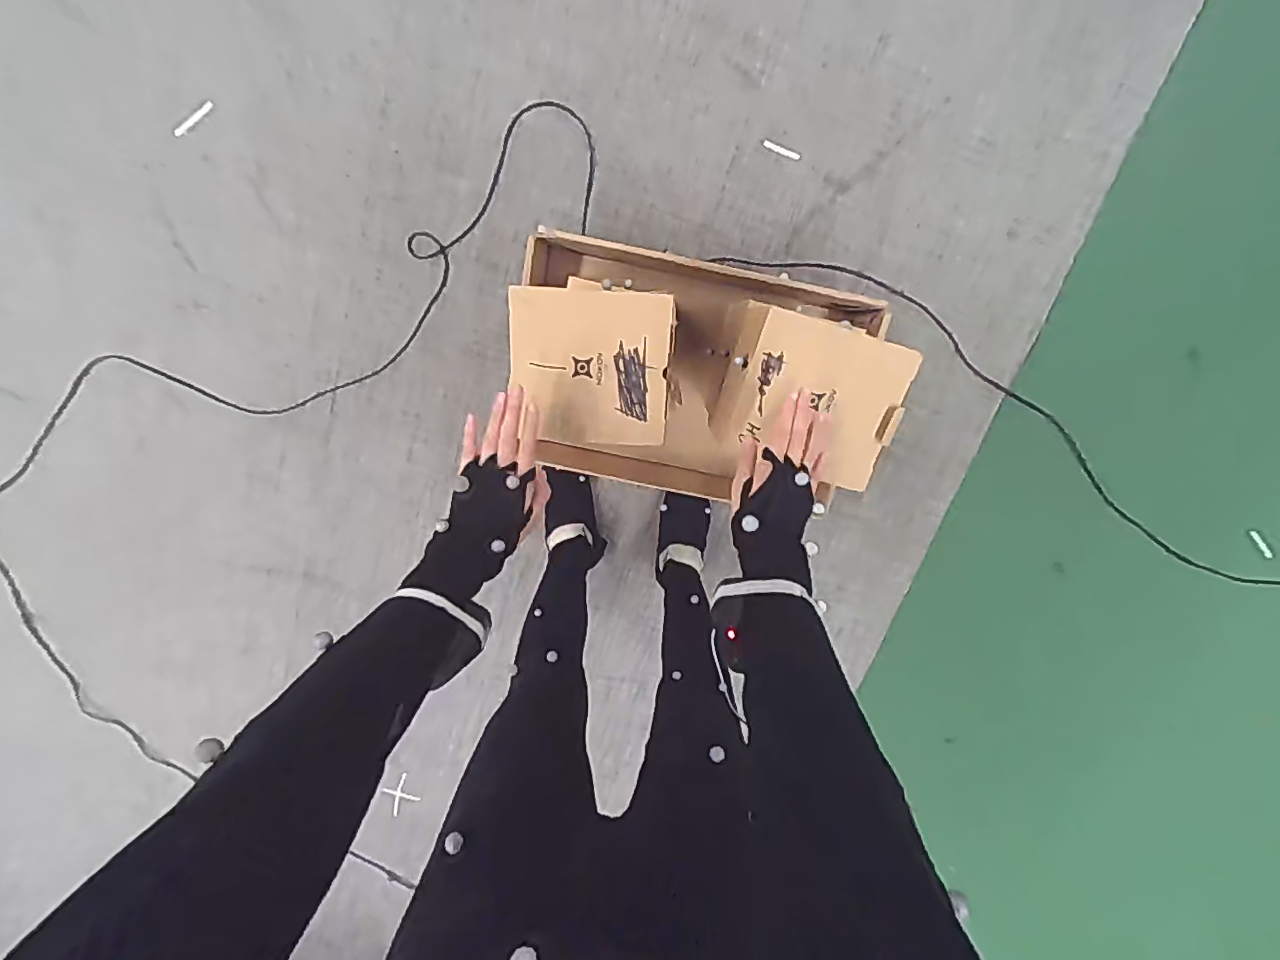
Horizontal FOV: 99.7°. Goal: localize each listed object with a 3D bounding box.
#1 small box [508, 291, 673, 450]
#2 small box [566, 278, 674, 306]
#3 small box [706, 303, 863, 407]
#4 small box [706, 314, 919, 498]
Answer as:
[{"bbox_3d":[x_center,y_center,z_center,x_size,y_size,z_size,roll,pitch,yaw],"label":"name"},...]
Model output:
[{"bbox_3d":[-0.056,-0.140,0.664,0.179,0.176,0.168,3,107,0],"label":"small box"},{"bbox_3d":[-0.048,-0.255,0.970,0.179,0.176,0.168,12,107,-5],"label":"small box"},{"bbox_3d":[0.204,-0.159,0.821,0.168,0.176,0.179,14,107,-2],"label":"small box"},{"bbox_3d":[0.194,-0.099,0.667,0.179,0.176,0.168,17,106,-3],"label":"small box"}]
